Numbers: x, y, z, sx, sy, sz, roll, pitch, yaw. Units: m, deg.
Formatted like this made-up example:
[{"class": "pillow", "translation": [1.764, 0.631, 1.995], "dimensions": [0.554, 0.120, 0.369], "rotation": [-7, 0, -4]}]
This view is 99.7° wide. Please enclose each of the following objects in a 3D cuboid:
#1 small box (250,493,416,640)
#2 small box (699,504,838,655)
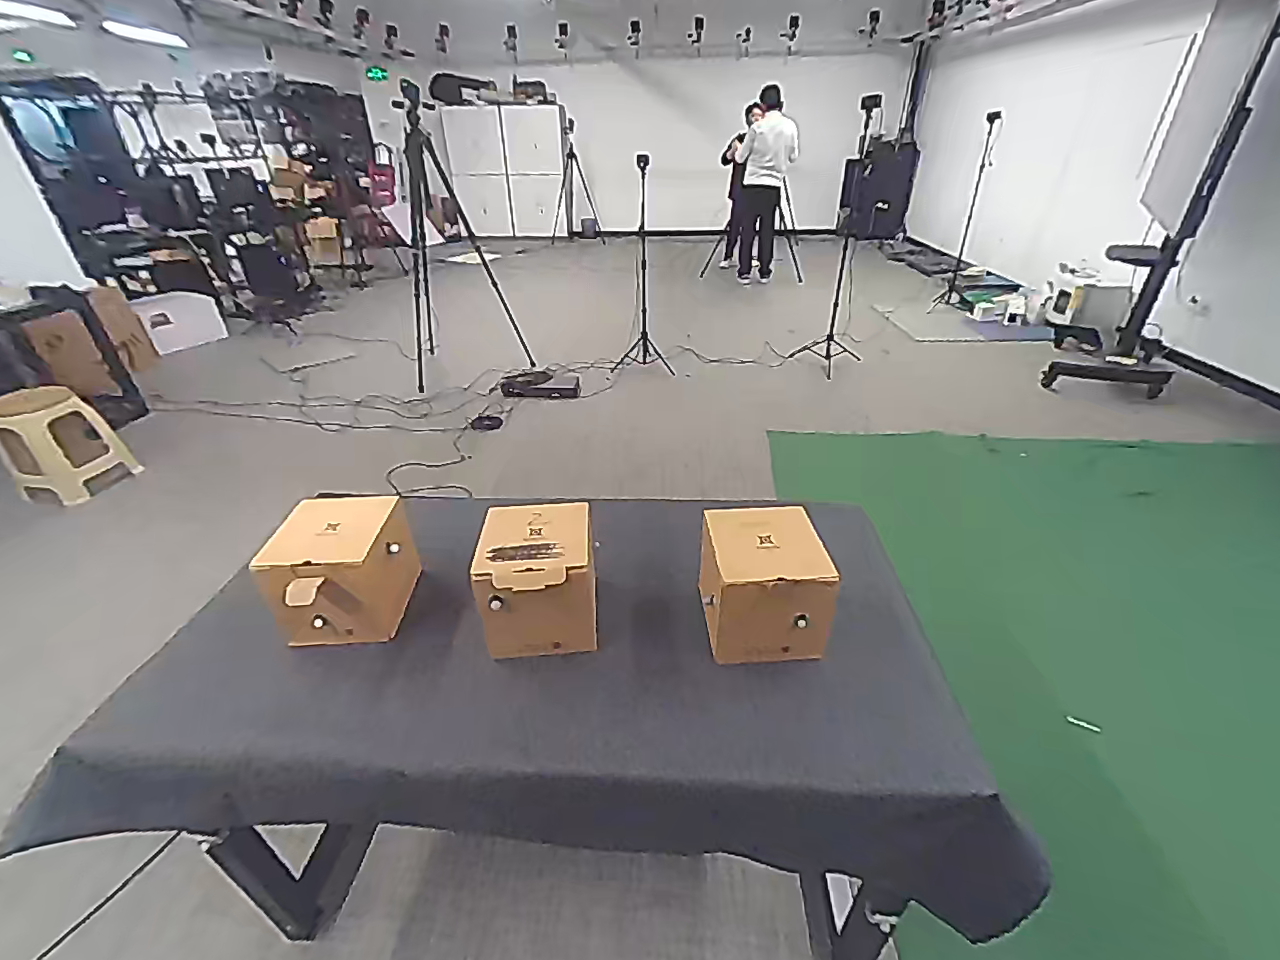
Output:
[{"class": "small box", "translation": [-0.484, 0.138, 0.888], "dimensions": [0.168, 0.176, 0.179], "rotation": [-2, 32, -3]}, {"class": "small box", "translation": [0.188, 0.157, 0.845], "dimensions": [0.168, 0.176, 0.179], "rotation": [-2, 31, -3]}]
